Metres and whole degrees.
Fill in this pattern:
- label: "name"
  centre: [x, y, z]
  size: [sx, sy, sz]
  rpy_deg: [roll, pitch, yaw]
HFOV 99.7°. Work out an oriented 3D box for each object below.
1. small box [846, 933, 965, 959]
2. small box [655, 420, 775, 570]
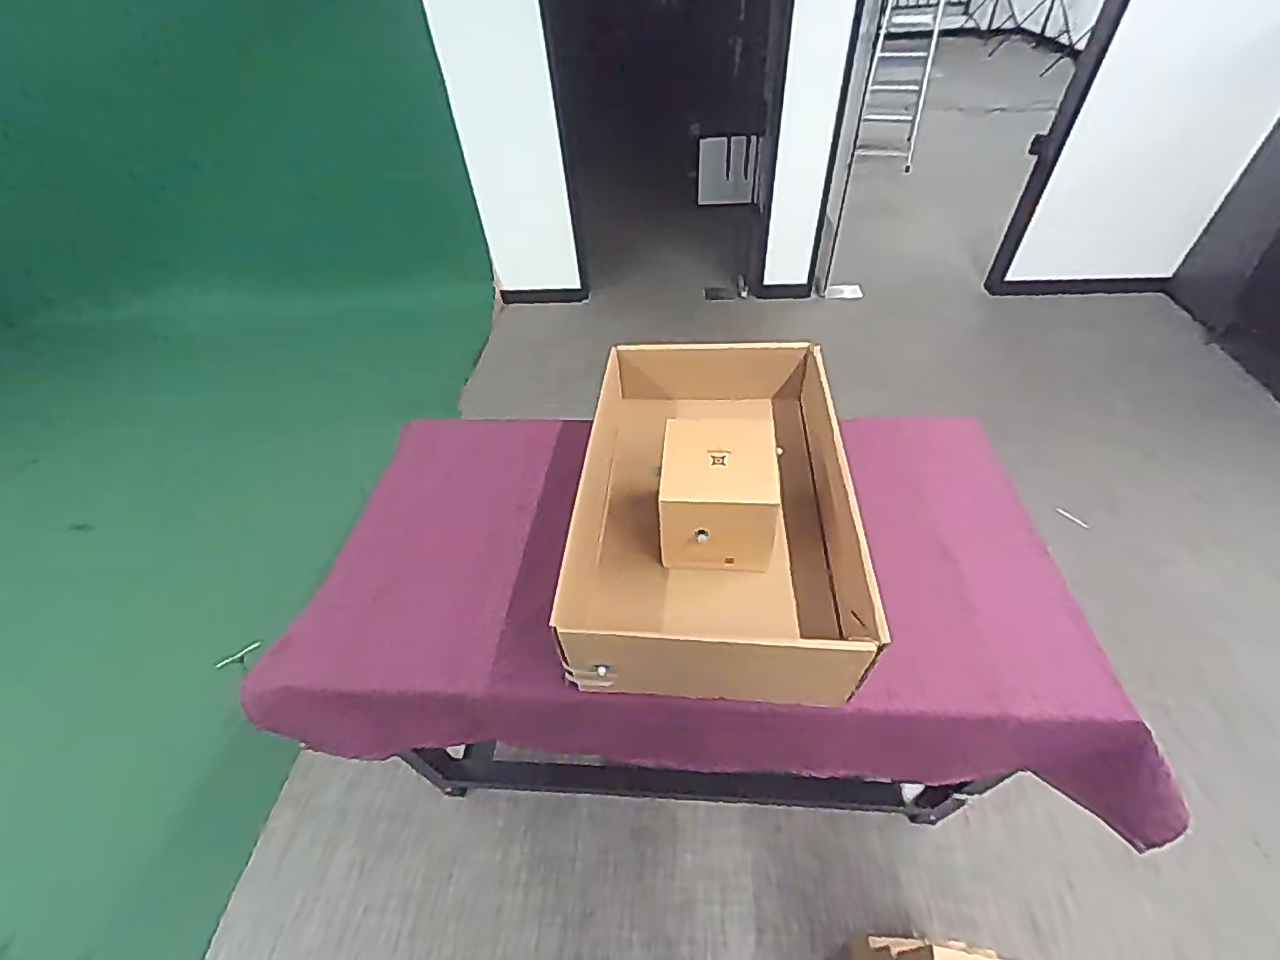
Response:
- label: "small box"
  centre: [0.506, 0.961, 1.010]
  size: [0.179, 0.176, 0.168]
  rpy_deg: [-1, 47, 5]
- label: "small box"
  centre: [0.118, 0.025, 0.848]
  size: [0.168, 0.176, 0.179]
  rpy_deg: [1, 46, 7]
